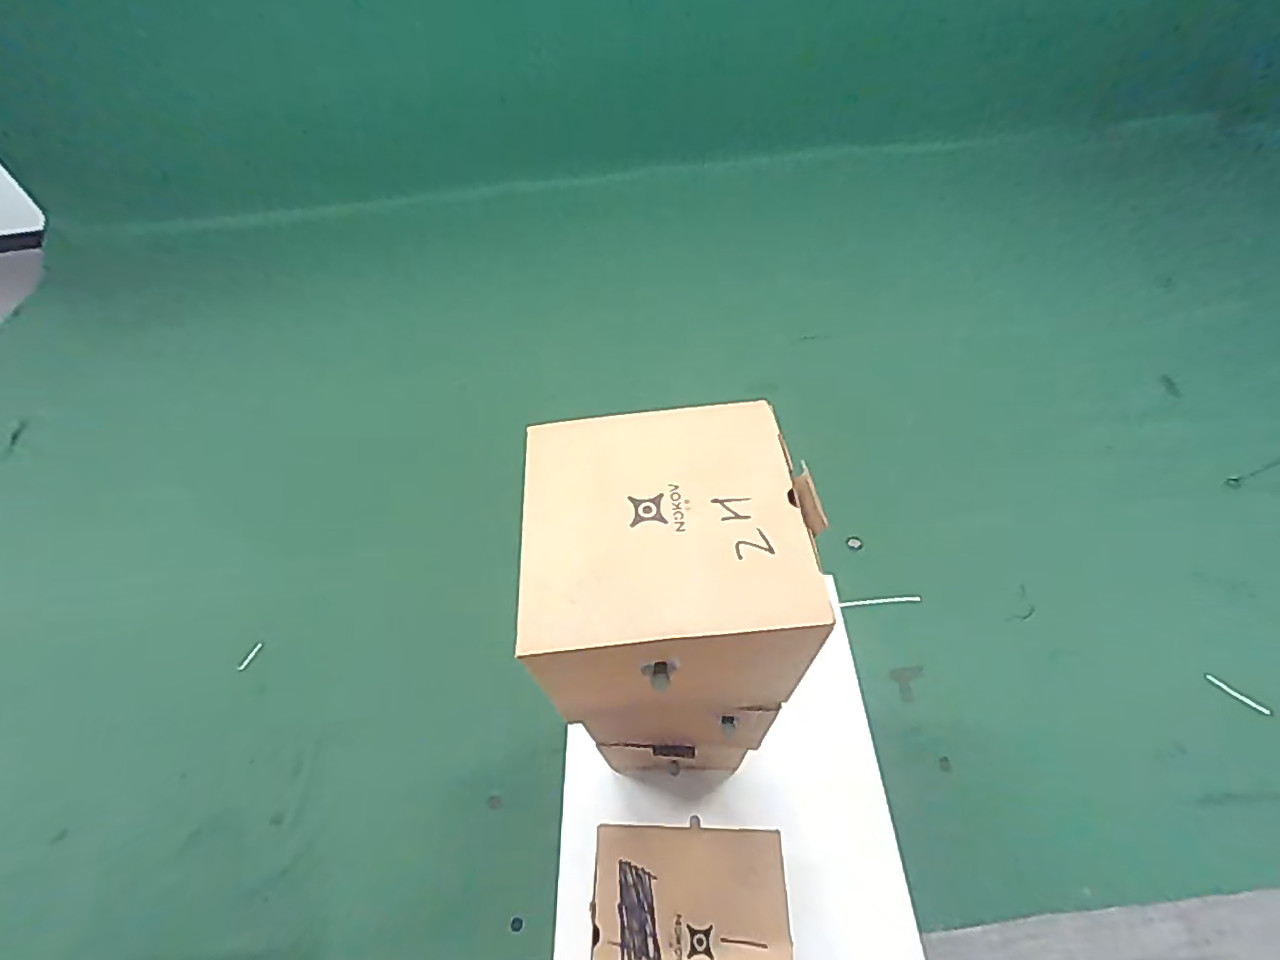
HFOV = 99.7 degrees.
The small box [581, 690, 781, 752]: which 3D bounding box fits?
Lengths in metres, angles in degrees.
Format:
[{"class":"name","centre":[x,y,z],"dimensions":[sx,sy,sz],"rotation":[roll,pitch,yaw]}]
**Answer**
[{"class":"small box","centre":[0.031,0.158,0.526],"dimensions":[0.179,0.176,0.168],"rotation":[0,53,4]}]

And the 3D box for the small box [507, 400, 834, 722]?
[{"class":"small box","centre":[0.016,0.066,0.391],"dimensions":[0.179,0.176,0.168],"rotation":[-6,55,0]}]

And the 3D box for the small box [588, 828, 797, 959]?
[{"class":"small box","centre":[0.049,0.441,0.516],"dimensions":[0.179,0.176,0.168],"rotation":[-1,53,4]}]
